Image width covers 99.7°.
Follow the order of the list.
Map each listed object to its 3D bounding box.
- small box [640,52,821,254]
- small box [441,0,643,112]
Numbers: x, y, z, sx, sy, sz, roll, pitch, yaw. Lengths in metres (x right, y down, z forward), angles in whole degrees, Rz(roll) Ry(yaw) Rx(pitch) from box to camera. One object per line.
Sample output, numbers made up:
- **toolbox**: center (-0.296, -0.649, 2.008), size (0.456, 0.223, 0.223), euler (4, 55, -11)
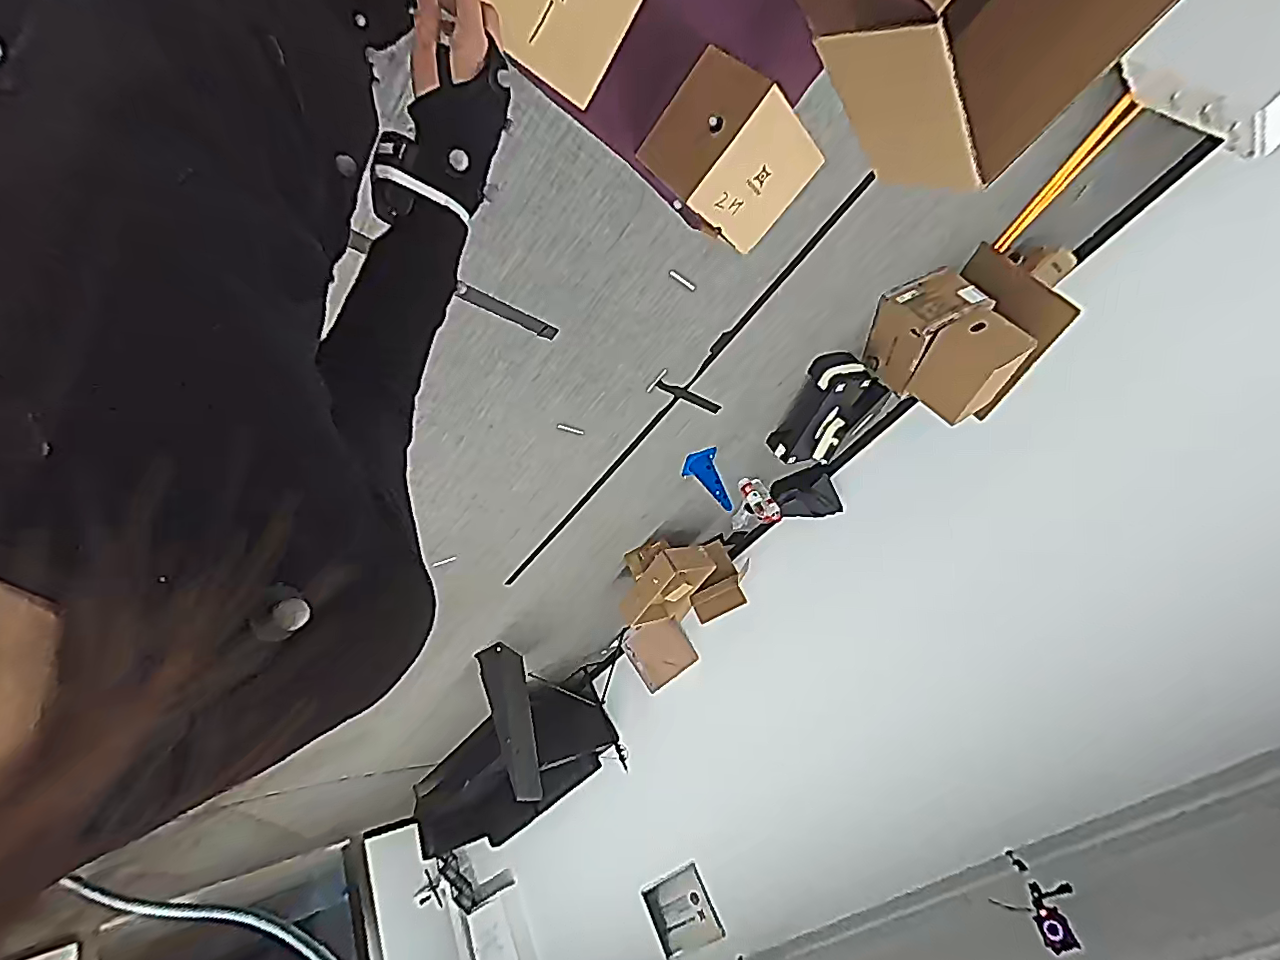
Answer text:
- **small box**: center (0.130, -0.491, 0.818), size (0.168, 0.176, 0.179), euler (13, 128, -48)
- **small box**: center (-0.108, -0.537, 0.552), size (0.168, 0.176, 0.179), euler (7, 133, -45)
